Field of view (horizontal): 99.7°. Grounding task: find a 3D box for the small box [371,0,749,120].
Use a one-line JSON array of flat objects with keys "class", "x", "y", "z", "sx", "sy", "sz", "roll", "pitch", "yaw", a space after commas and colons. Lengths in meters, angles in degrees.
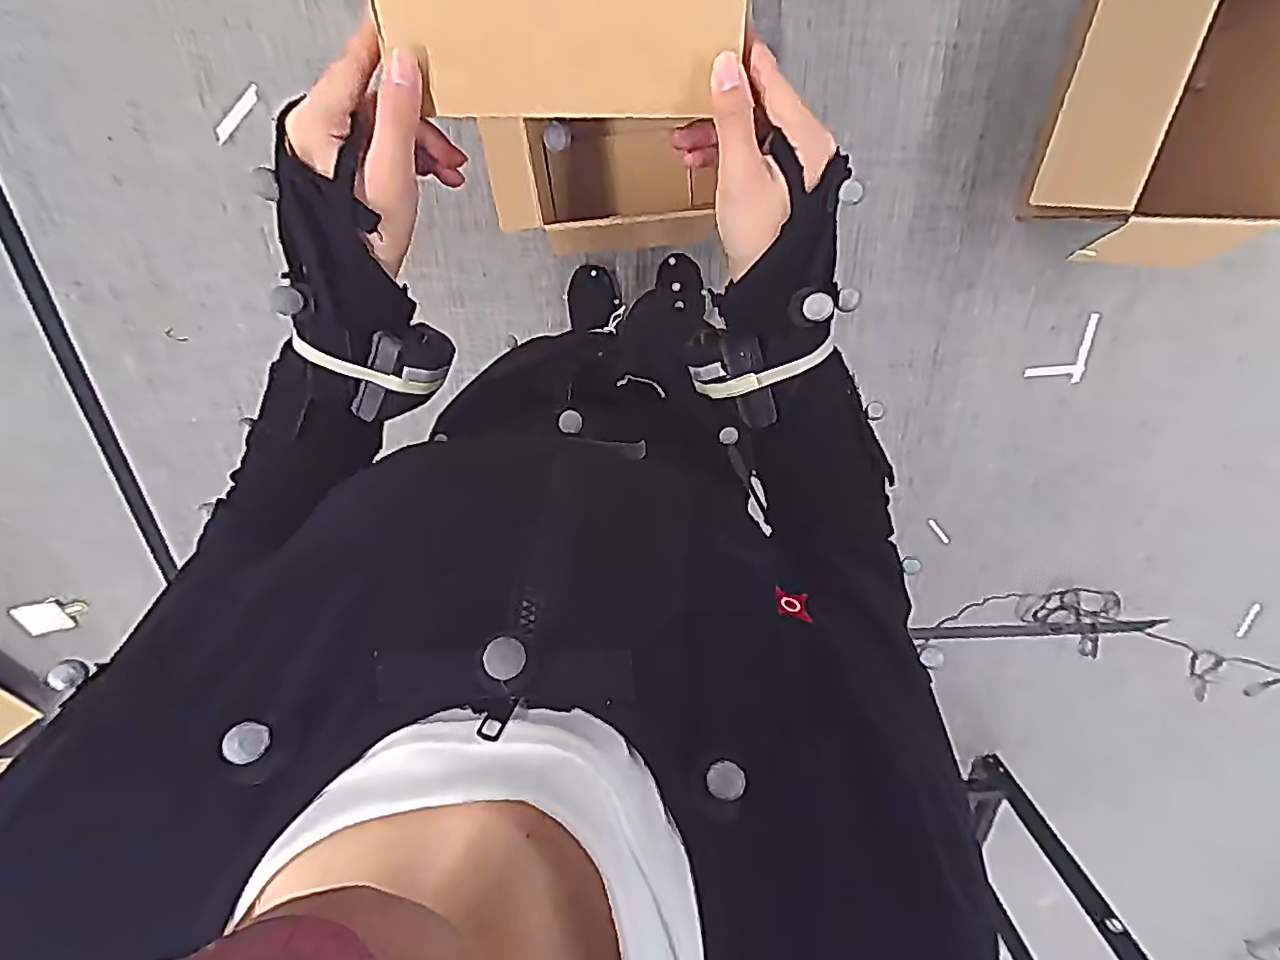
[{"class": "small box", "x": -0.041, "y": -0.298, "z": 0.291, "sx": 0.179, "sy": 0.176, "sz": 0.168, "roll": -2, "pitch": 126, "yaw": -3}]
